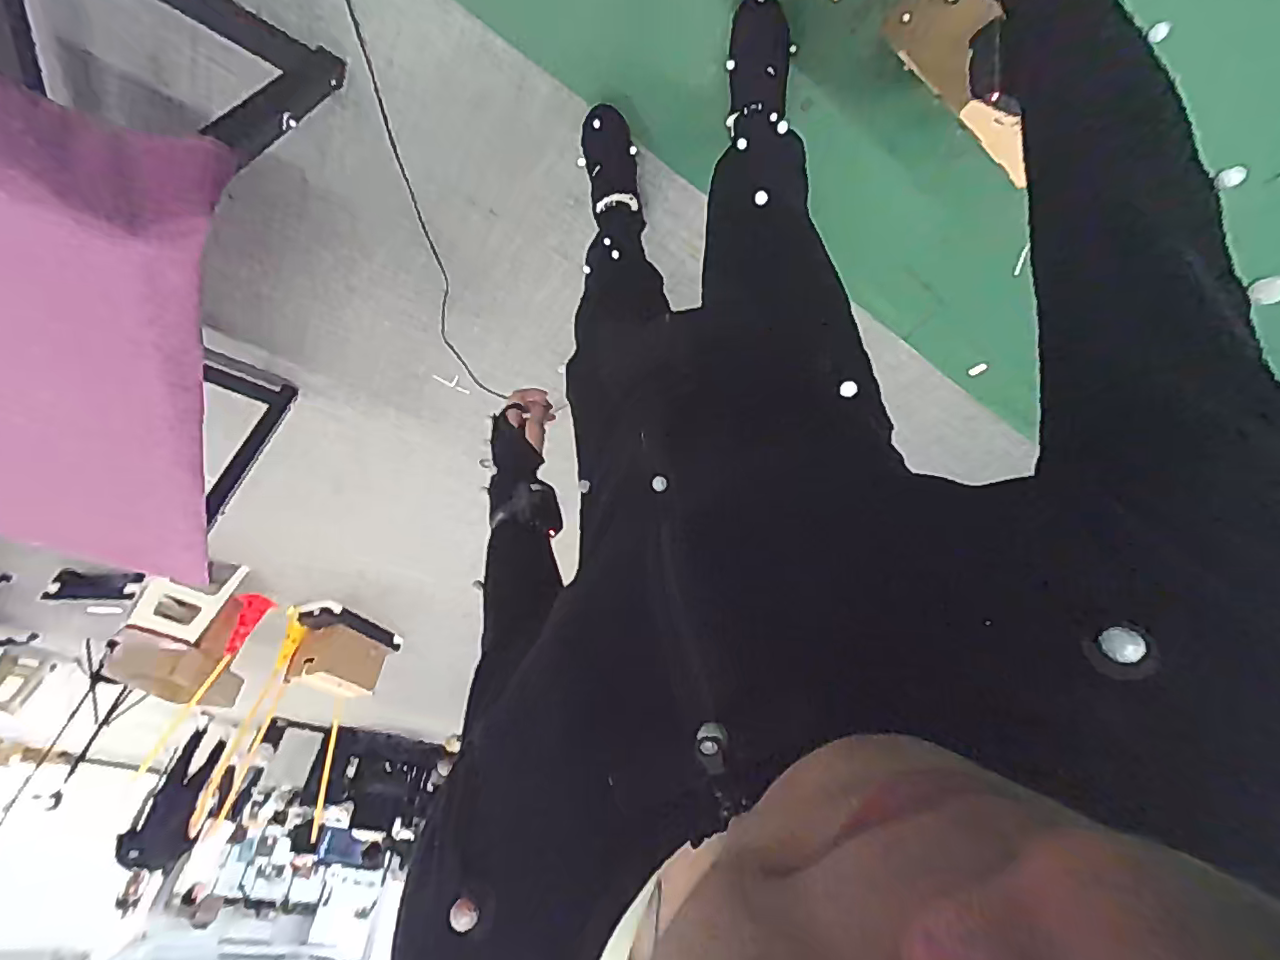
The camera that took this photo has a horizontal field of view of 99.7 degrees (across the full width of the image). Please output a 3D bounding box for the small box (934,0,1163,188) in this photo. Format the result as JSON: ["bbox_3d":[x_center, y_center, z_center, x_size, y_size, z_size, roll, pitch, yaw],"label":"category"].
[{"bbox_3d":[0.550,-0.563,0.751,0.168,0.176,0.179,27,138,-25],"label":"small box"}]

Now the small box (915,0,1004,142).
[{"bbox_3d":[0.564,-0.692,0.854,0.168,0.176,0.179,25,140,-25],"label":"small box"}]
